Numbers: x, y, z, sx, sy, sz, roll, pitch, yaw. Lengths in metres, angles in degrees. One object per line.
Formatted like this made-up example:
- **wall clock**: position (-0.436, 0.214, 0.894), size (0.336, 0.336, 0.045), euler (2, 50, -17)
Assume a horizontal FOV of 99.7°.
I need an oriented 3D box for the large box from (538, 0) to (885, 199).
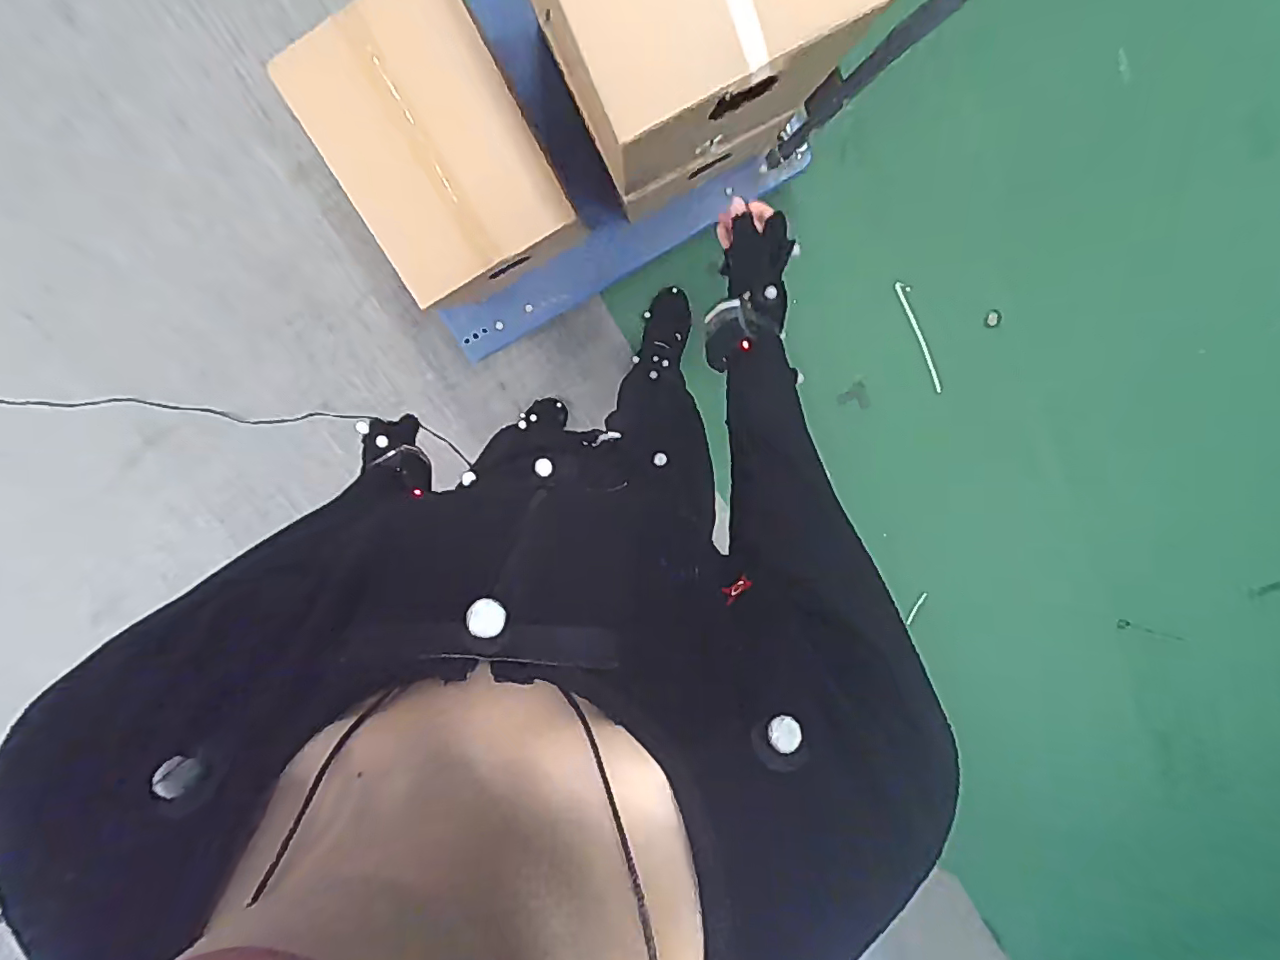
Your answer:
- **large box**: position (0.029, -0.621, 0.630), size (0.320, 0.320, 0.408), euler (-24, 105, 7)
